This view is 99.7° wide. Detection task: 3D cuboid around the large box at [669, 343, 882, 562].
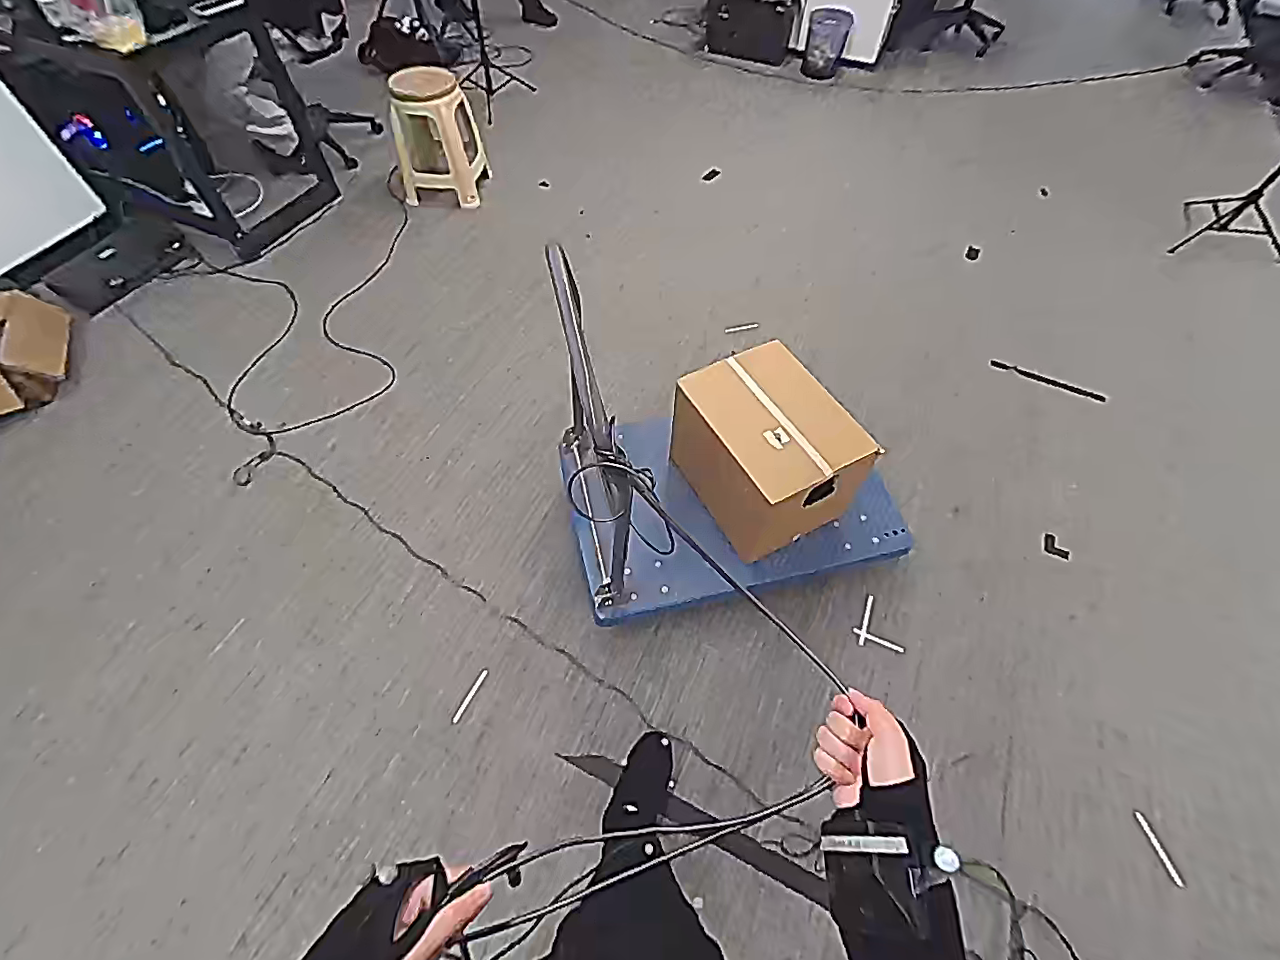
[{"bbox_3d":[0.312,-0.071,1.386,0.320,0.320,0.408,-25,62,-15],"label":"large box"}]
